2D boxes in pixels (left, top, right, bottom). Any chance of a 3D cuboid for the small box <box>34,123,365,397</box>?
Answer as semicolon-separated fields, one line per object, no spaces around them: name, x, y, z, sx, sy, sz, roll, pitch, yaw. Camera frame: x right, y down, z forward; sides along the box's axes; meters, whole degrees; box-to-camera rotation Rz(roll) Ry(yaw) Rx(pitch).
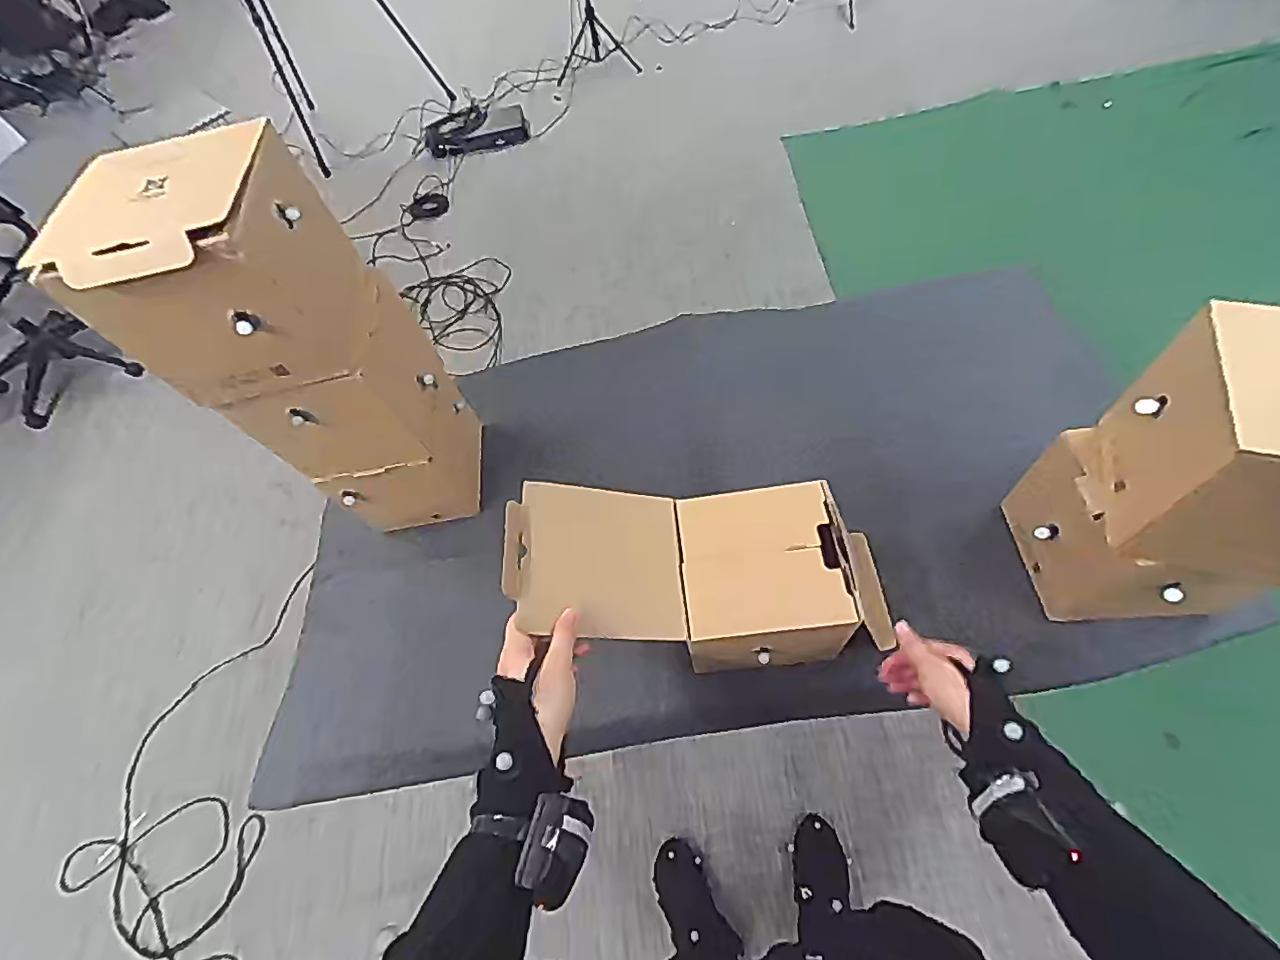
small box;-0.393;-0.199;0.525;0.168;0.176;0.179;-12;59;1

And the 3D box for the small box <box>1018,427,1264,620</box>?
small box;0.561;0.052;0.604;0.179;0.176;0.168;-5;58;8

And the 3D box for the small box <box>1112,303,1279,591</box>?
small box;0.542;-0.020;0.458;0.179;0.176;0.168;14;62;17

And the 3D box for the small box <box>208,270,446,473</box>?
small box;-0.364;-0.123;0.666;0.179;0.176;0.168;-9;61;4
